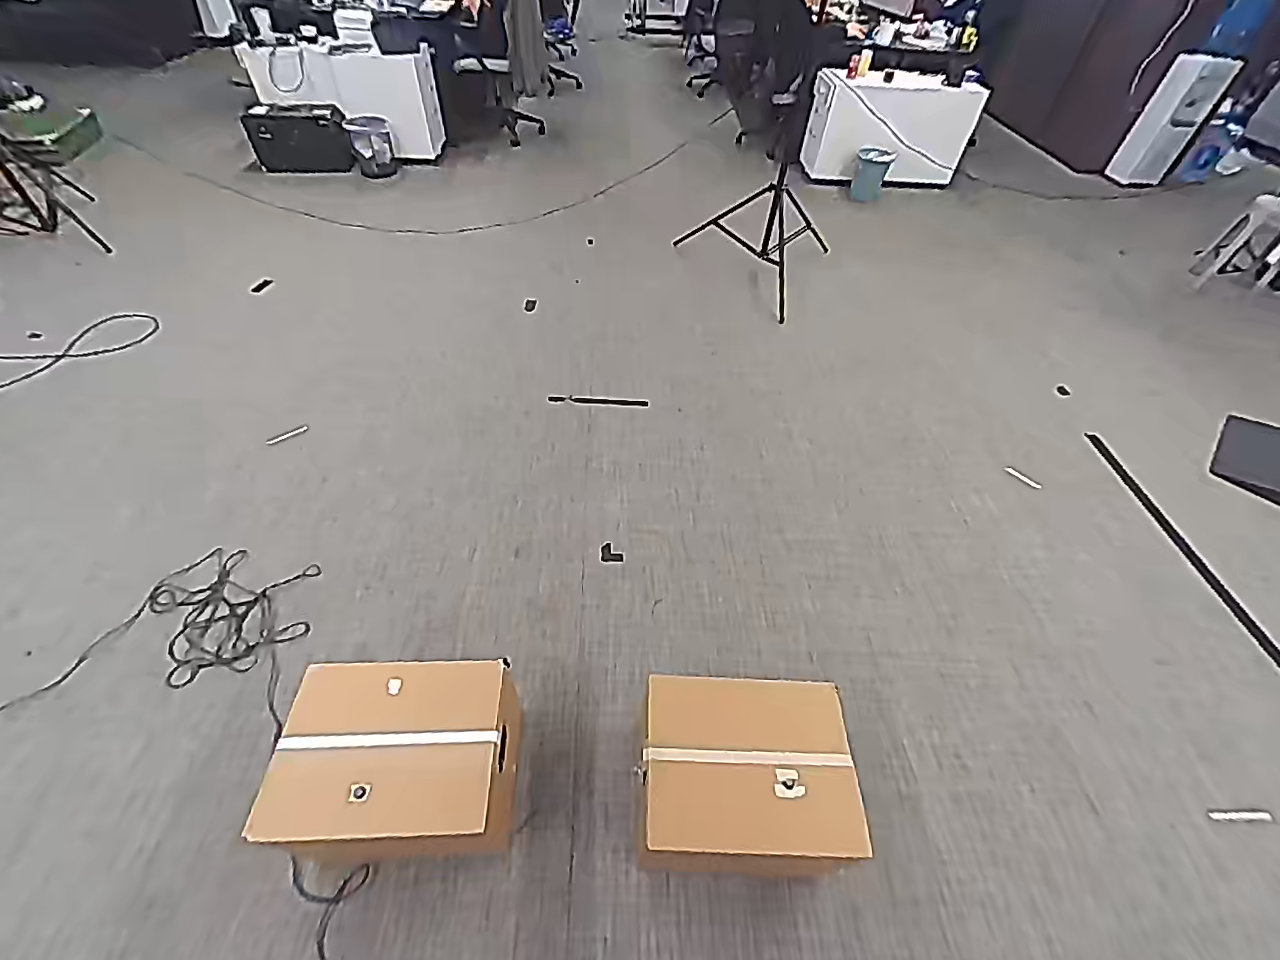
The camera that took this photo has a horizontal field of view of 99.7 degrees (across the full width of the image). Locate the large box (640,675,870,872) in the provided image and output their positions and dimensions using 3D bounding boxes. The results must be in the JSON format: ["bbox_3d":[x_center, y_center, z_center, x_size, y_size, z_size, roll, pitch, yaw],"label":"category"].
[{"bbox_3d":[0.210,0.640,1.171,0.408,0.320,0.320,3,49,-2],"label":"large box"}]
